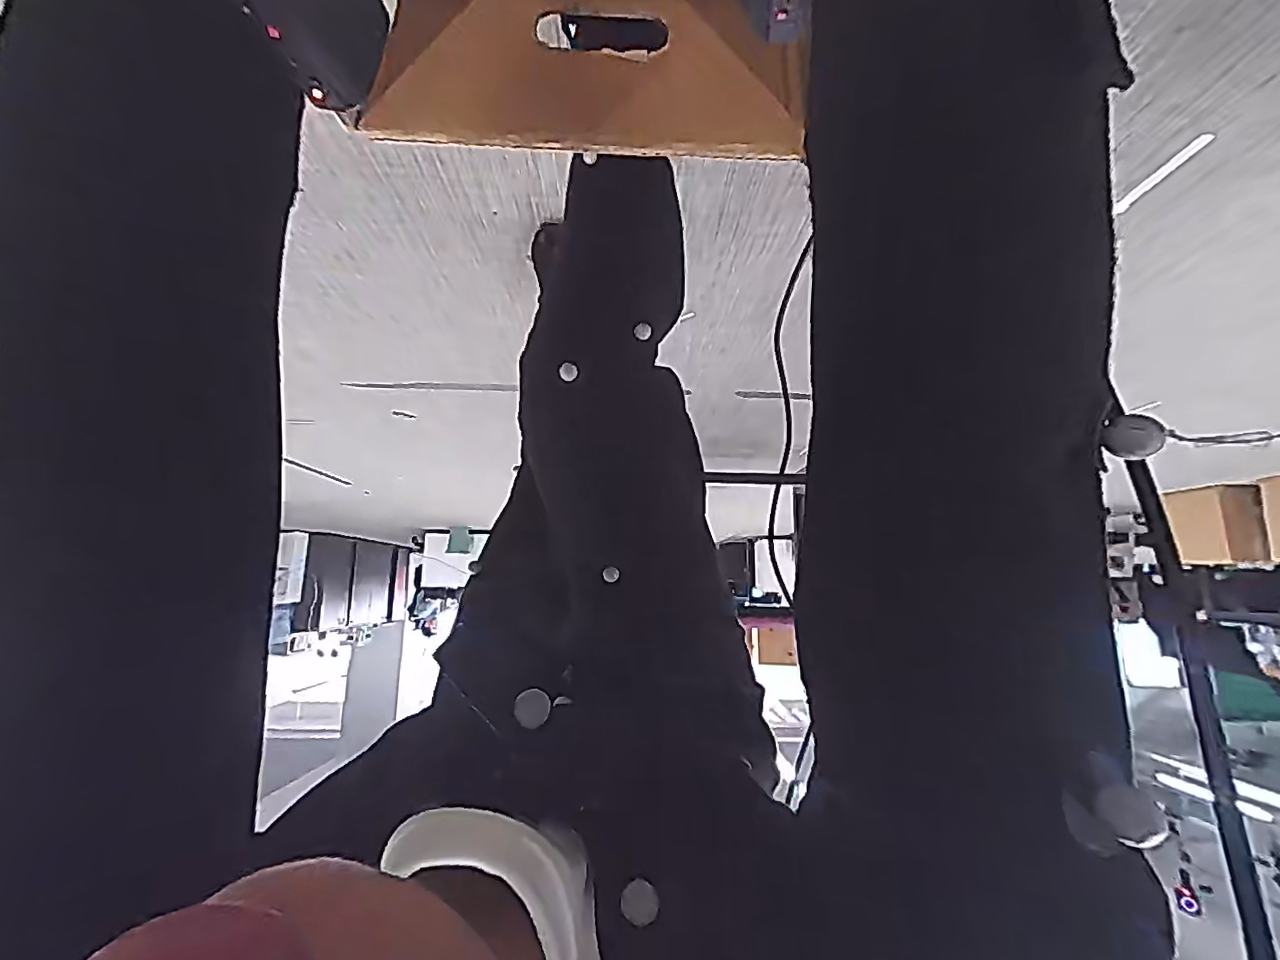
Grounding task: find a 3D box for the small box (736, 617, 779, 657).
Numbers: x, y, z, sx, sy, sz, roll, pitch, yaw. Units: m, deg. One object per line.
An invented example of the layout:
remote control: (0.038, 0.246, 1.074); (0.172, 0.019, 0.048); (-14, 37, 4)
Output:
small box: (0.561, 0.750, 2.596); (0.179, 0.176, 0.168); (1, 169, 2)
